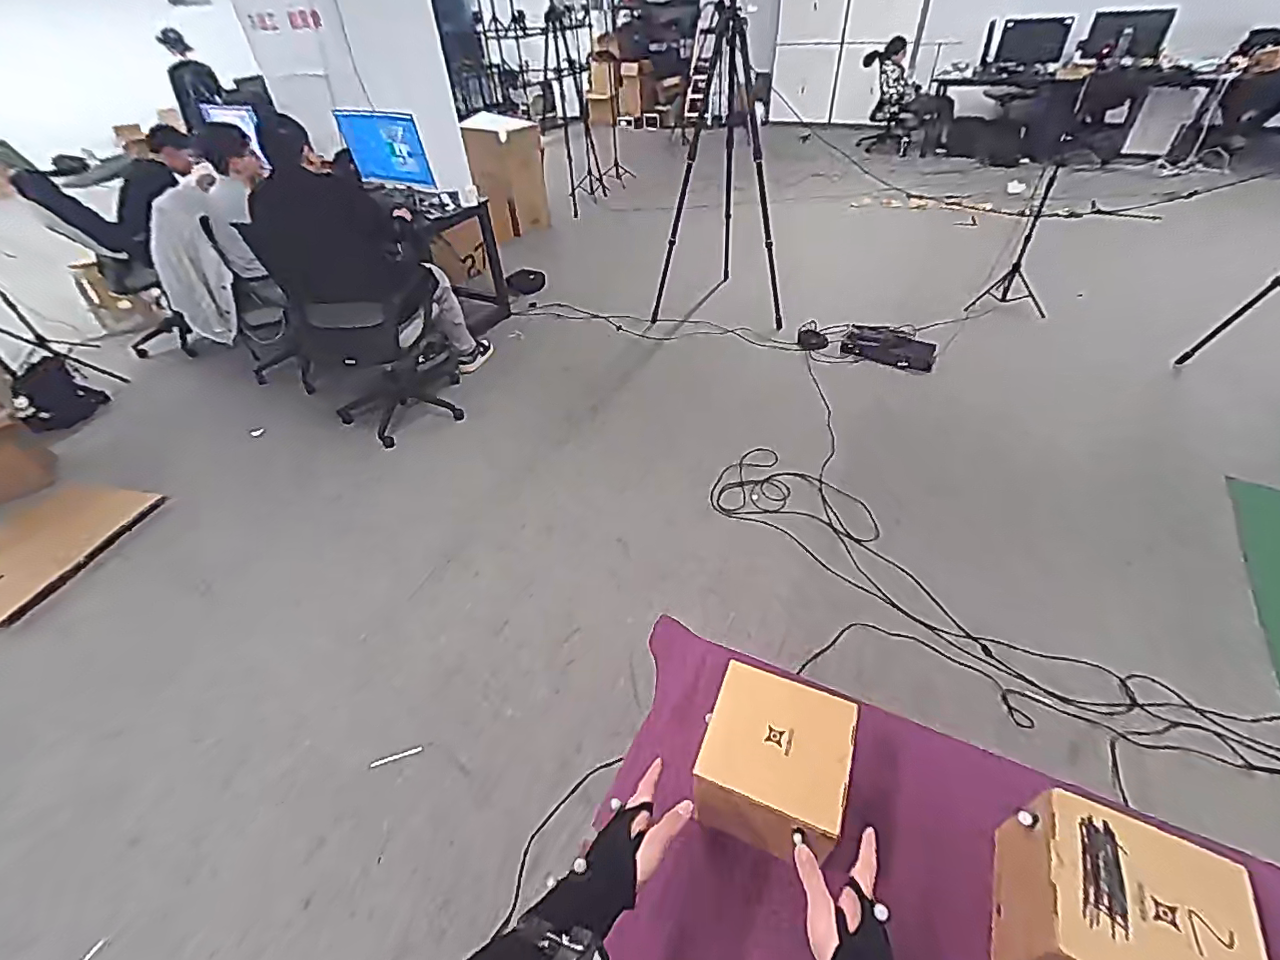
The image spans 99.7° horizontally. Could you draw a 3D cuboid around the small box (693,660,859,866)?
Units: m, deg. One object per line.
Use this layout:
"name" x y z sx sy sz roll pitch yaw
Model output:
"small box" 0.177 0.382 0.730 0.179 0.176 0.168 15 45 19
